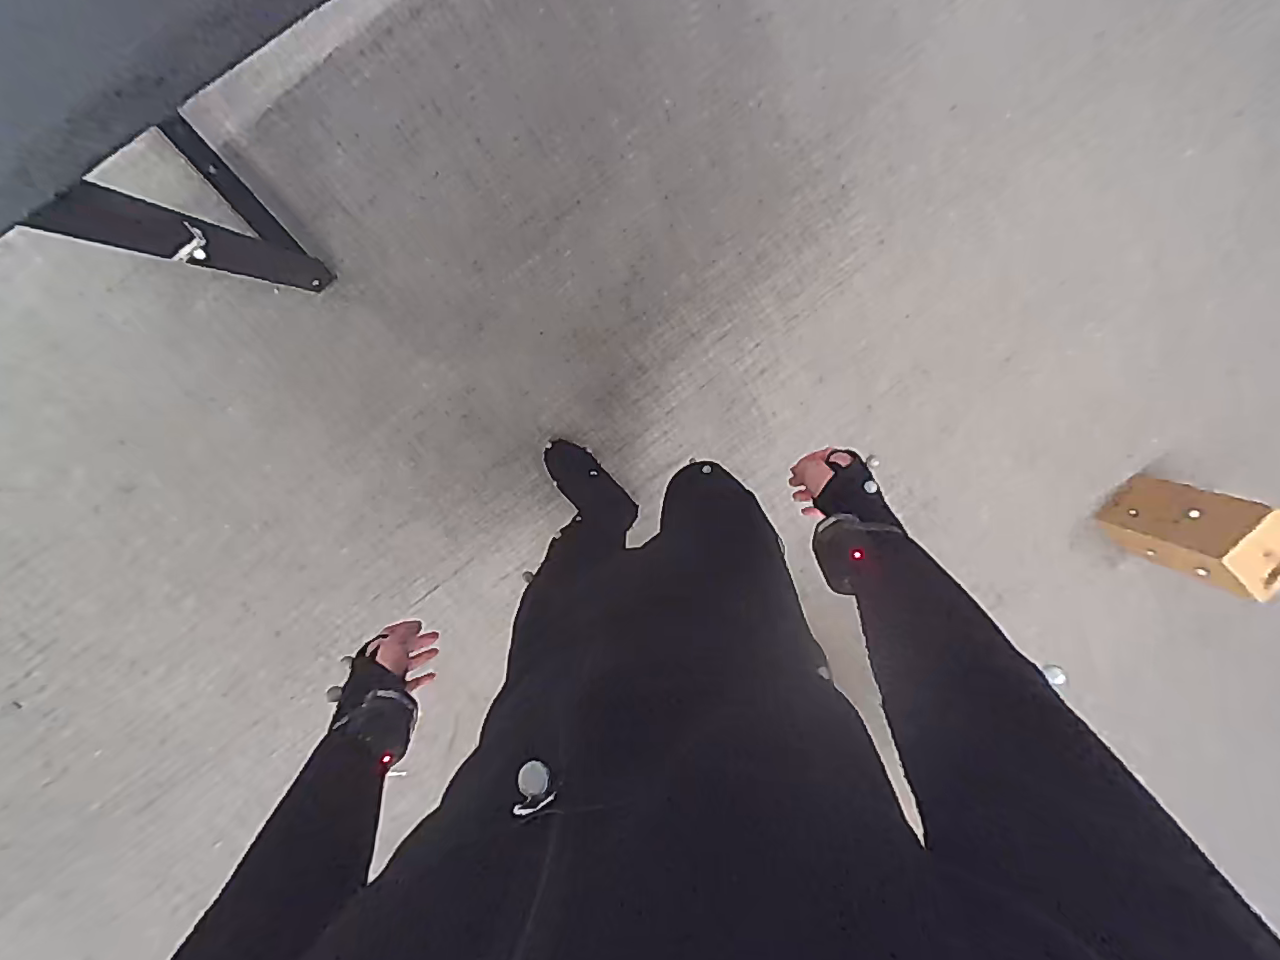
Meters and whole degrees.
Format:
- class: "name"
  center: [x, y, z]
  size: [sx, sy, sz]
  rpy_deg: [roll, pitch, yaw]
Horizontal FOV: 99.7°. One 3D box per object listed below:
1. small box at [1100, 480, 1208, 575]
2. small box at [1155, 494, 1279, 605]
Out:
- class: "small box"
  center: [1.395, 0.117, 1.440]
  size: [0.179, 0.176, 0.168]
  rpy_deg: [38, 98, -13]
- class: "small box"
  center: [1.402, 0.156, 1.280]
  size: [0.179, 0.176, 0.168]
  rpy_deg: [39, 97, -11]
